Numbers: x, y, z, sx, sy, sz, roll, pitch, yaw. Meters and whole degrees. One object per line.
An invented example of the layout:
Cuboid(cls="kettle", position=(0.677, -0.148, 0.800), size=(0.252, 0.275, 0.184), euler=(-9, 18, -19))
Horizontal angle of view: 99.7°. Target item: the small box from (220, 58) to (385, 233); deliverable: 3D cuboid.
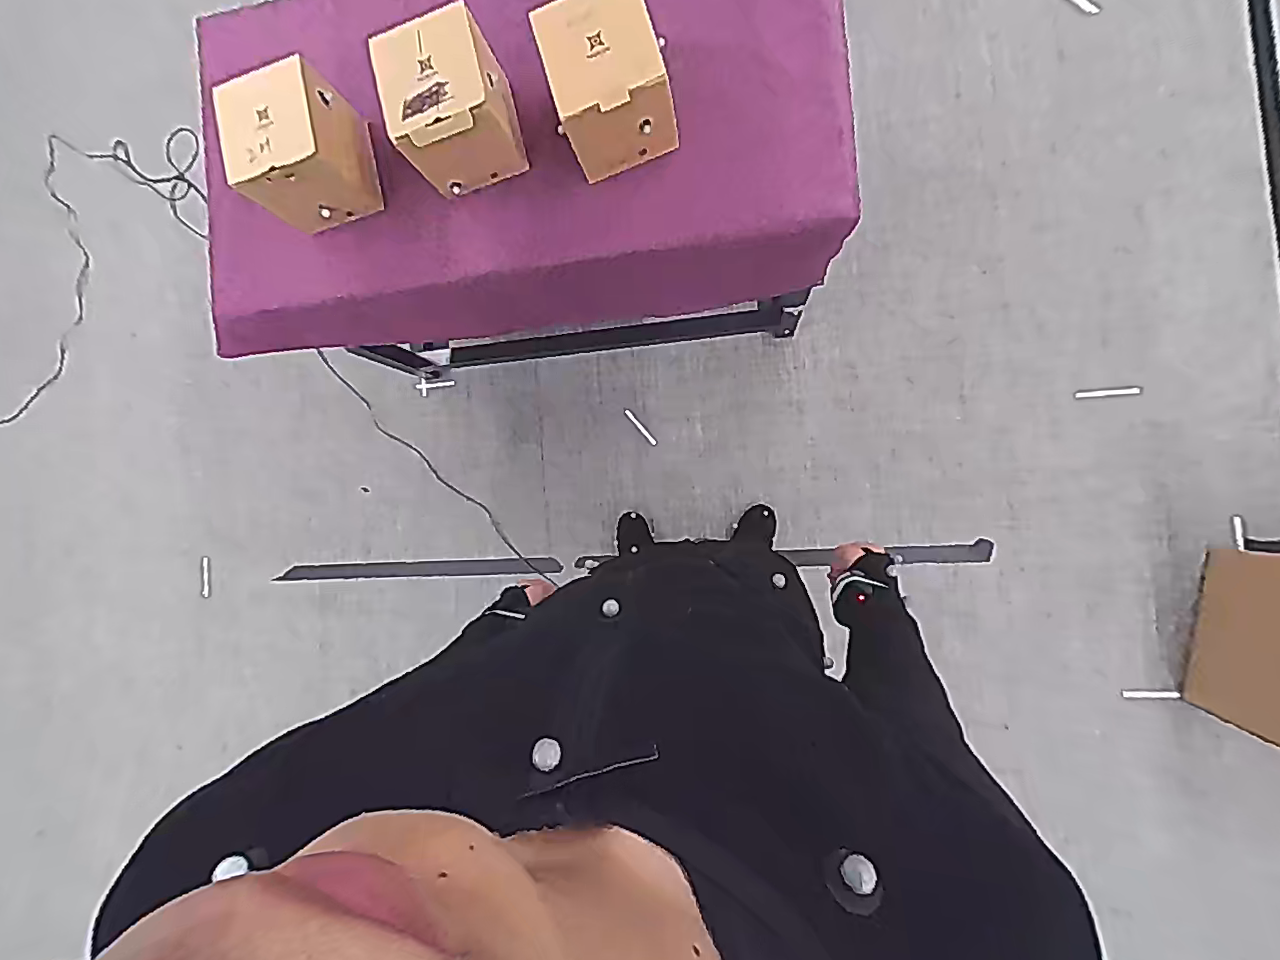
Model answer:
Cuboid(cls="small box", position=(-0.579, -0.571, 0.946), size=(0.168, 0.176, 0.179), euler=(-13, 87, 10))

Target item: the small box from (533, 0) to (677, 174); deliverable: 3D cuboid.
Cuboid(cls="small box", position=(-0.045, -0.623, 0.857), size=(0.168, 0.176, 0.179), euler=(-17, 85, 9))

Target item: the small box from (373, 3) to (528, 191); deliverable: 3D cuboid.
Cuboid(cls="small box", position=(-0.304, -0.615, 0.900), size=(0.168, 0.176, 0.179), euler=(-15, 85, 9))
